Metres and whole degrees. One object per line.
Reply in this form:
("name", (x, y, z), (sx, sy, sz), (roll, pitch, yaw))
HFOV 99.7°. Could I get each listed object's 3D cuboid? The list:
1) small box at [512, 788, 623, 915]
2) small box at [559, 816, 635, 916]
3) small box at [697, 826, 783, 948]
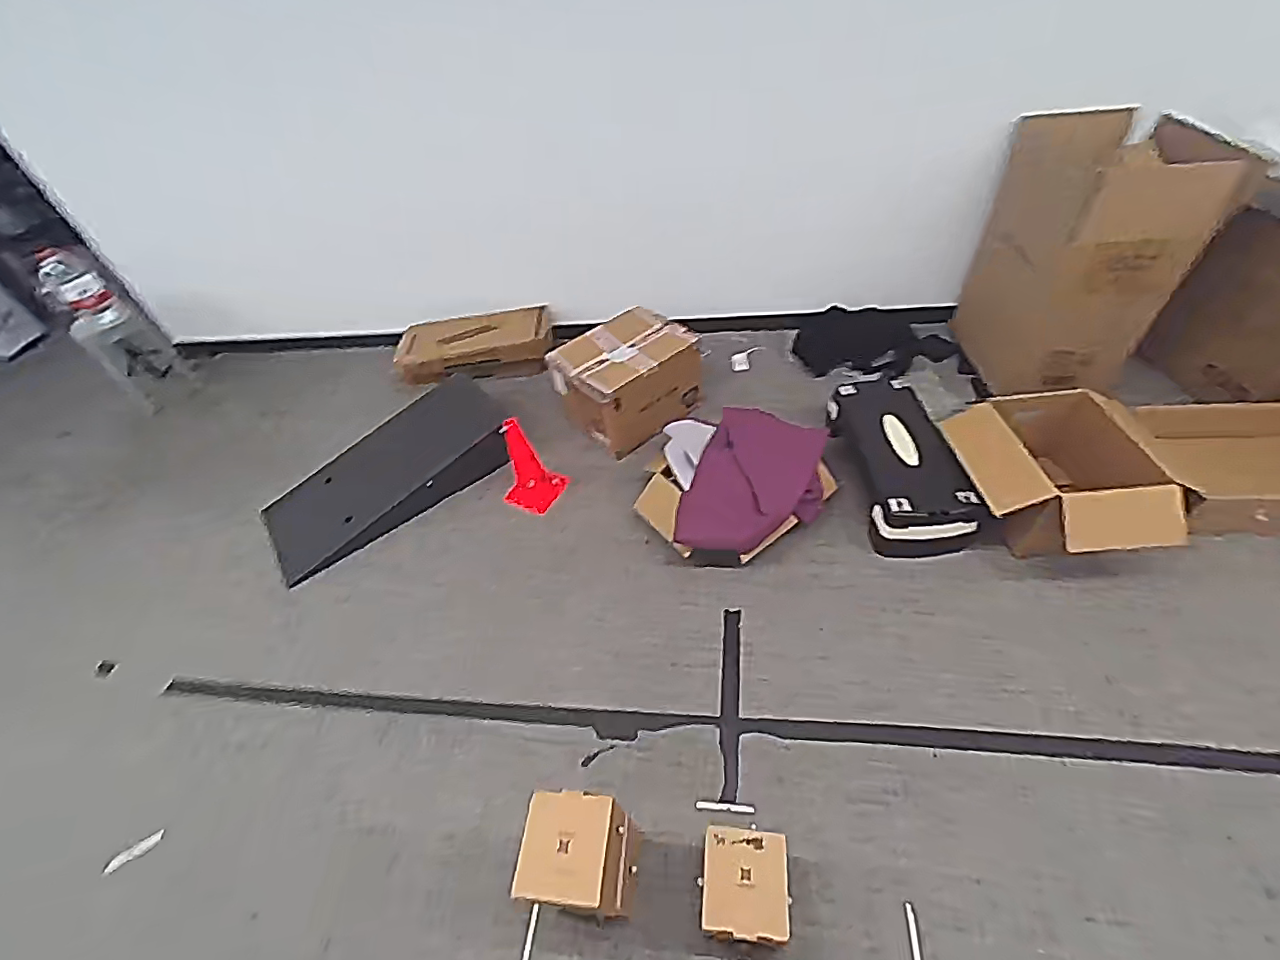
("small box", (-0.132, 0.737, 1.073), (0.168, 0.176, 0.179), (-1, 48, 10))
("small box", (-0.110, 0.844, 1.193), (0.179, 0.176, 0.168), (-1, 47, 9))
("small box", (0.212, 0.855, 1.134), (0.168, 0.176, 0.179), (2, 48, 11))
